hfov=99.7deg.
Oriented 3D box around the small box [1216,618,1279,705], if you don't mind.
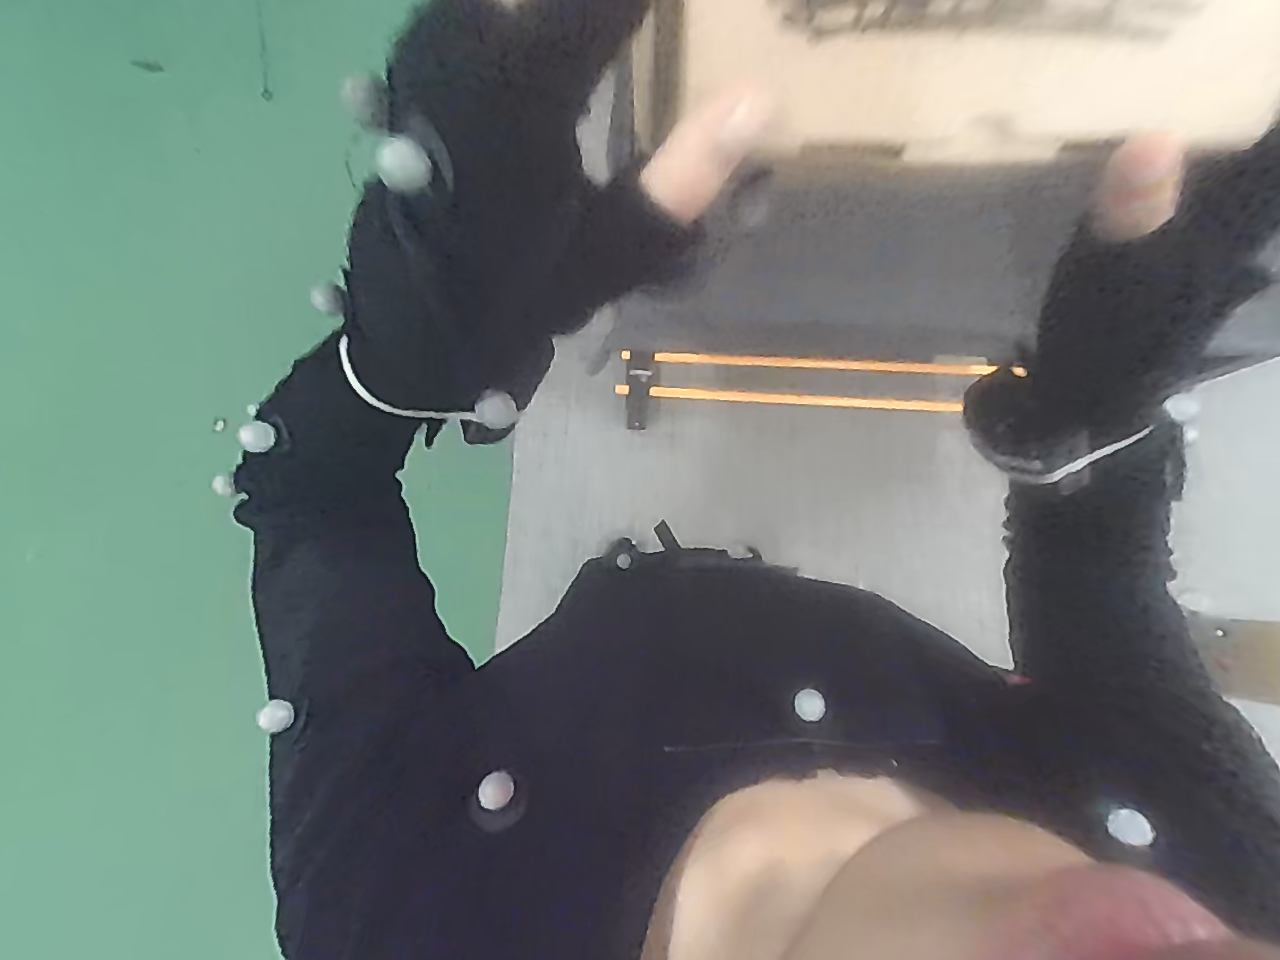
[{"bbox_3d":[1.335,0.375,1.098,0.179,0.176,0.168,6,79,-1],"label":"small box"}]
